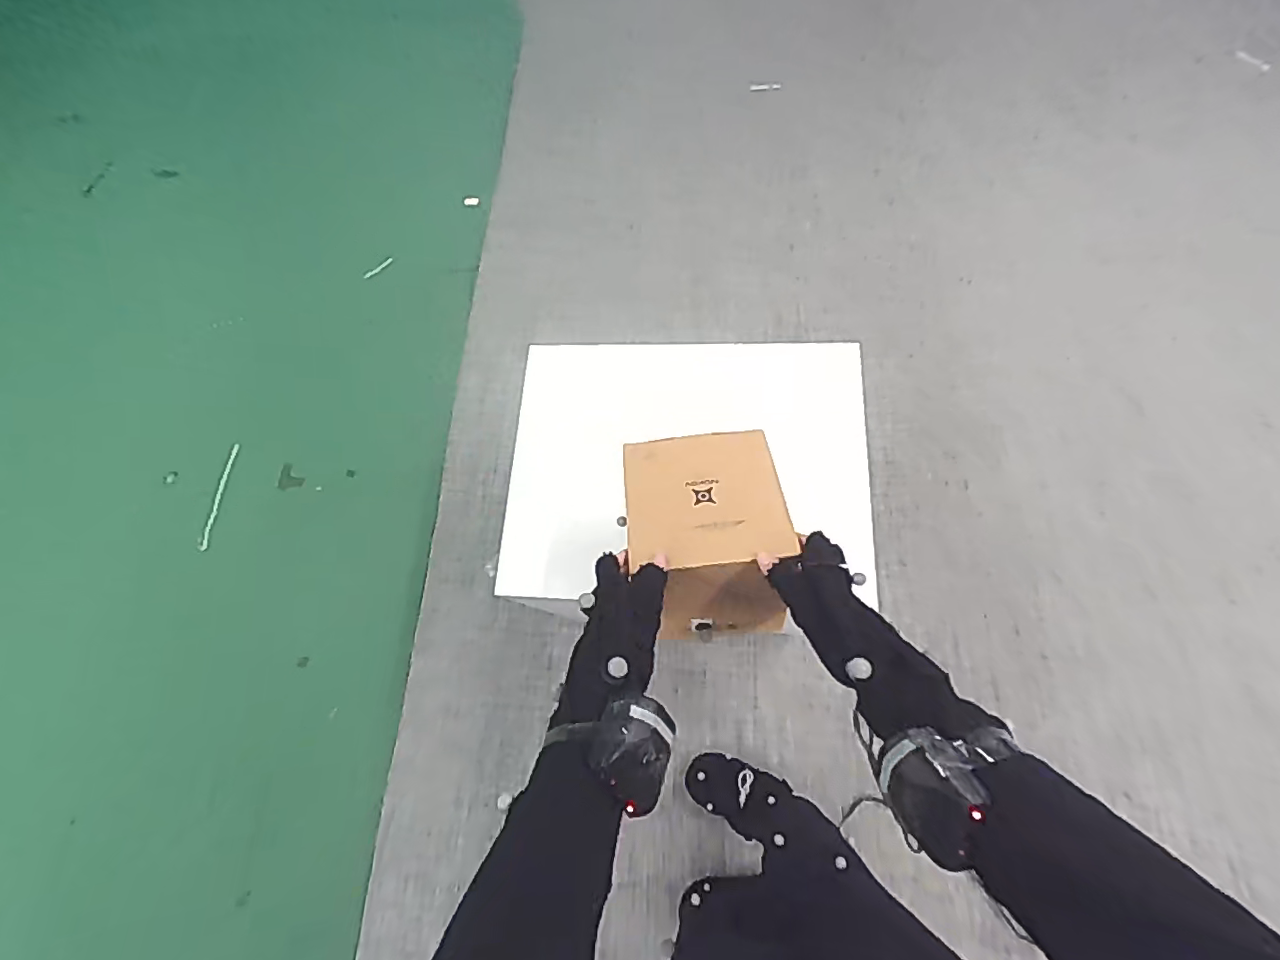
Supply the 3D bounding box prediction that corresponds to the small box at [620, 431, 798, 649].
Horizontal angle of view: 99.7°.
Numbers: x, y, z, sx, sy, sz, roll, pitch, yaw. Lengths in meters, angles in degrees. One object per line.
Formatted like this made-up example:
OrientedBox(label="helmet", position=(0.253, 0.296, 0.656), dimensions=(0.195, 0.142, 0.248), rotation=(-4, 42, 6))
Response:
OrientedBox(label="small box", position=(0.071, 0.070, 0.620), dimensions=(0.168, 0.176, 0.179), rotation=(-8, 49, 3))
